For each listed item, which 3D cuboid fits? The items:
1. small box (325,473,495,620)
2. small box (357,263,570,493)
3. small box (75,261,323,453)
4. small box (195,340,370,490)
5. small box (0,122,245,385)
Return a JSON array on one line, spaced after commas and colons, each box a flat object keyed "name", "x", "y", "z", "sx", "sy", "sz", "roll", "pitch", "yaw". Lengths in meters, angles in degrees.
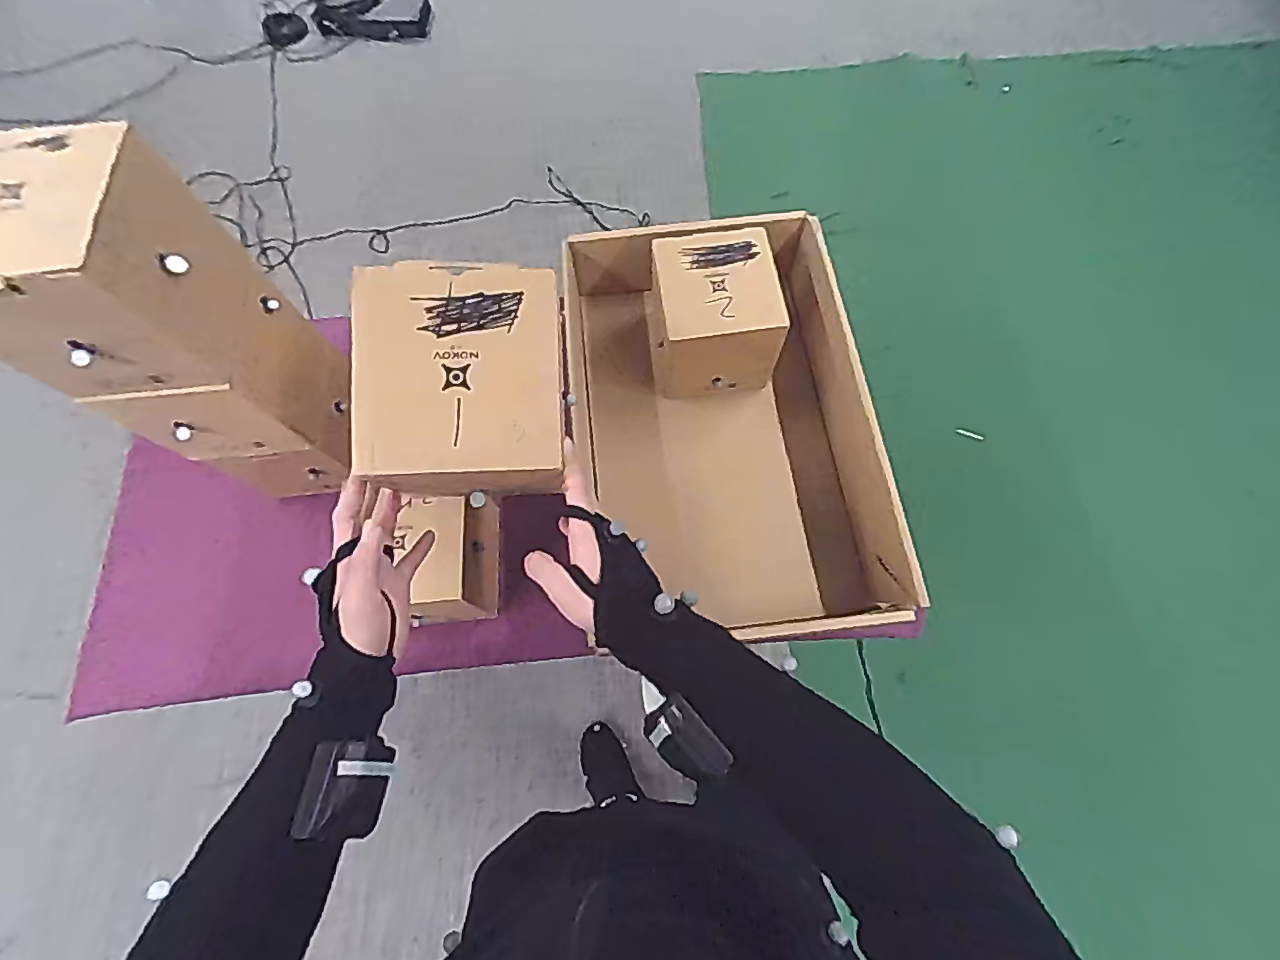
[{"name": "small box", "x": -0.305, "y": 0.099, "z": 0.757, "sx": 0.168, "sy": 0.176, "sz": 0.179, "roll": -4, "pitch": 69, "yaw": -2}, {"name": "small box", "x": -0.153, "y": -0.084, "z": 0.522, "sx": 0.168, "sy": 0.176, "sz": 0.179, "roll": -2, "pitch": 83, "yaw": -7}, {"name": "small box", "x": -0.529, "y": -0.143, "z": 0.681, "sx": 0.168, "sy": 0.176, "sz": 0.179, "roll": -6, "pitch": 69, "yaw": -2}, {"name": "small box", "x": -0.527, "y": -0.090, "z": 0.834, "sx": 0.168, "sy": 0.176, "sz": 0.179, "roll": -5, "pitch": 69, "yaw": -2}, {"name": "small box", "x": -0.529, "y": -0.205, "z": 0.529, "sx": 0.168, "sy": 0.176, "sz": 0.179, "roll": -6, "pitch": 70, "yaw": -3}]
